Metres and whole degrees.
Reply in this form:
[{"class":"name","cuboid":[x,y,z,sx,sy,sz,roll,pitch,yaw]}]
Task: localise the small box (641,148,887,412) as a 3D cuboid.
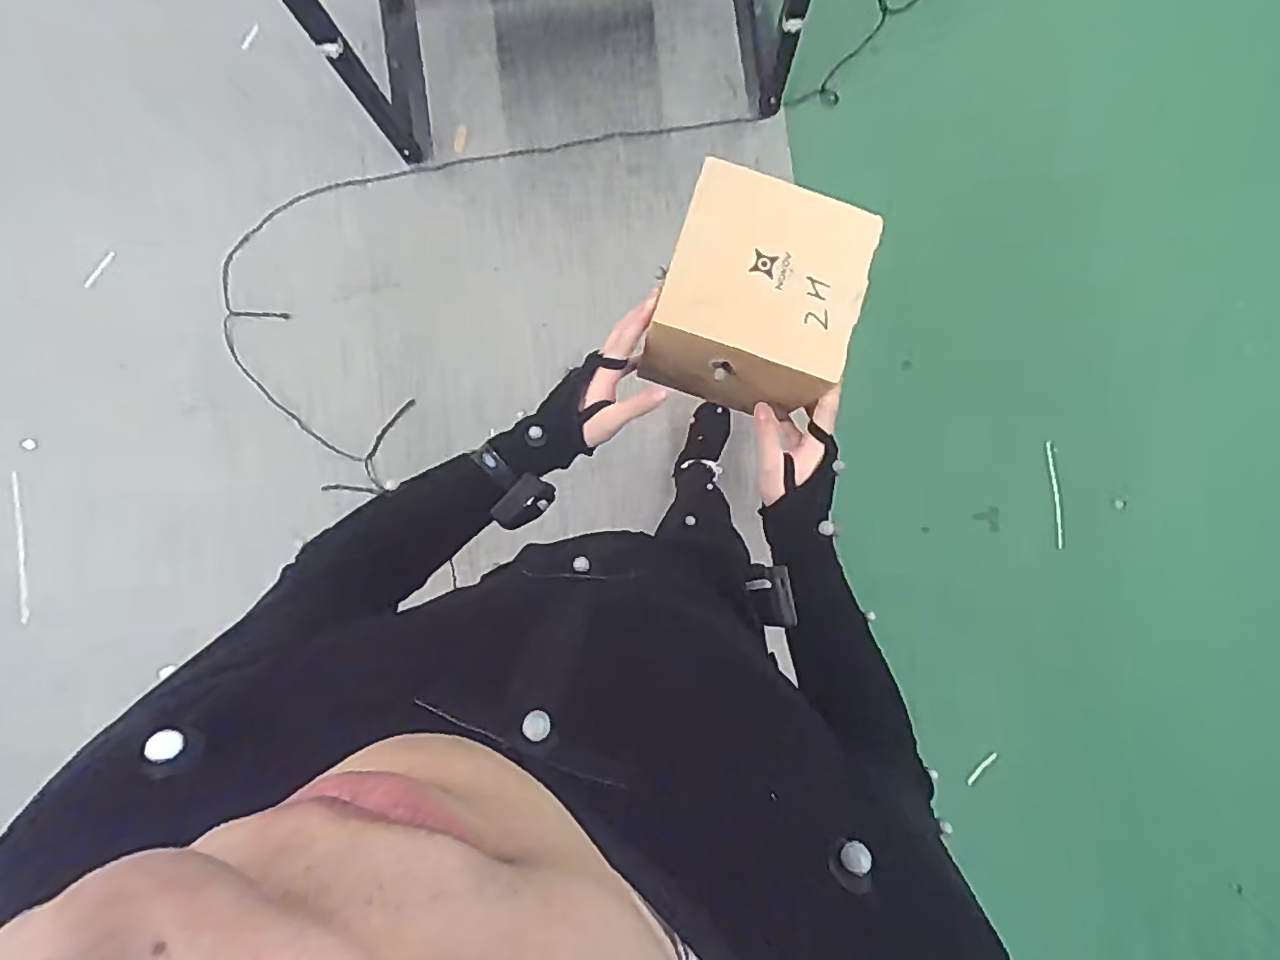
[{"class":"small box","cuboid":[0.108,-0.182,0.547,0.179,0.176,0.168,19,83,-3]}]
